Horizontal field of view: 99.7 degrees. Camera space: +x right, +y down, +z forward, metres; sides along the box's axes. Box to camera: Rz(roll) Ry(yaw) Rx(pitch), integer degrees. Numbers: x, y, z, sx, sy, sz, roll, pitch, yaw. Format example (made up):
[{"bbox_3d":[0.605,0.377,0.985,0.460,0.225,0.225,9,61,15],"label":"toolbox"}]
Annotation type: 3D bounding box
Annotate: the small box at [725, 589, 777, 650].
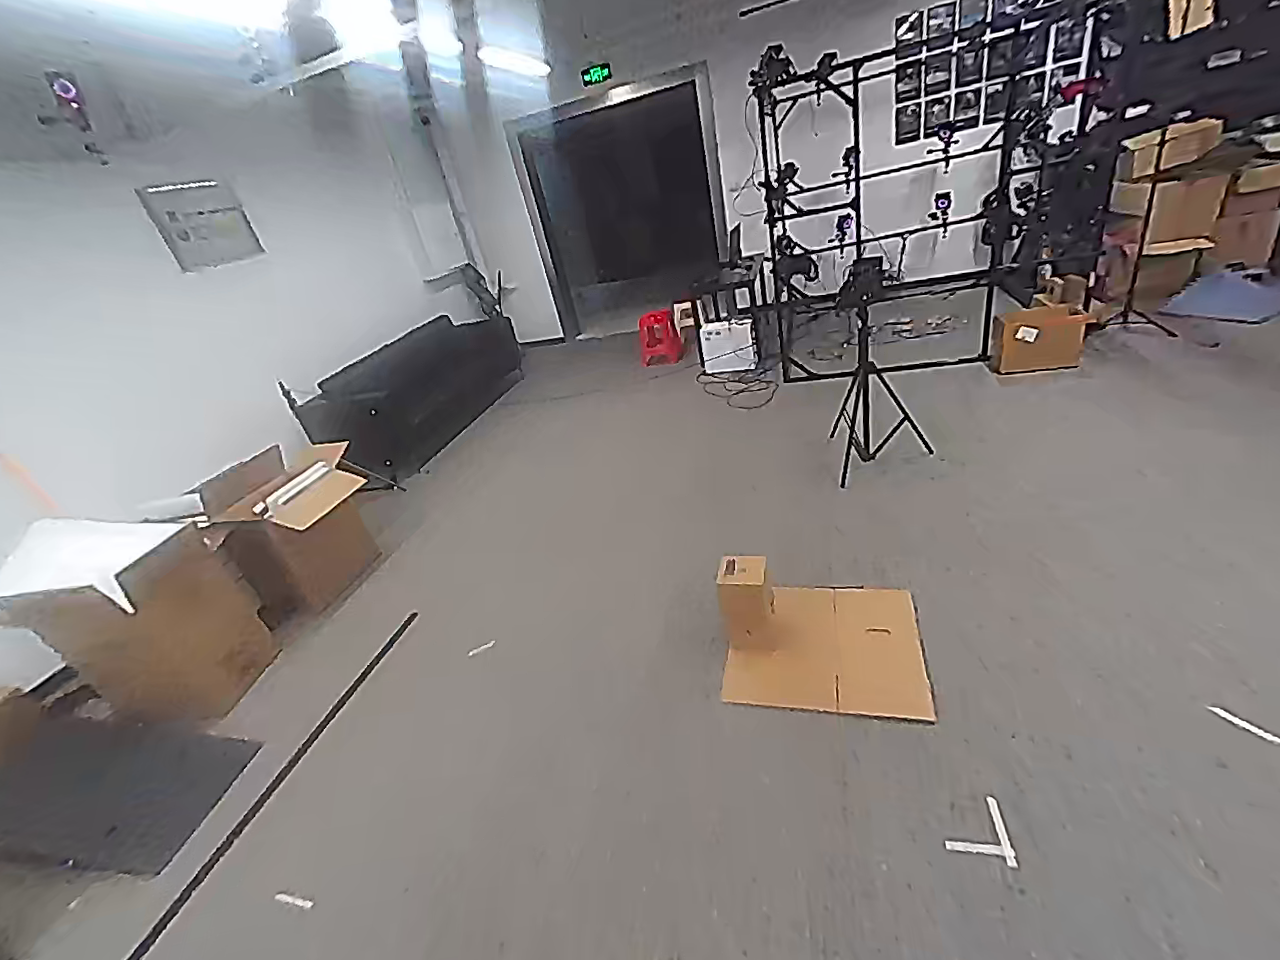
[{"bbox_3d":[0.445,0.552,2.135,0.179,0.176,0.168,-4,30,20],"label":"small box"}]
